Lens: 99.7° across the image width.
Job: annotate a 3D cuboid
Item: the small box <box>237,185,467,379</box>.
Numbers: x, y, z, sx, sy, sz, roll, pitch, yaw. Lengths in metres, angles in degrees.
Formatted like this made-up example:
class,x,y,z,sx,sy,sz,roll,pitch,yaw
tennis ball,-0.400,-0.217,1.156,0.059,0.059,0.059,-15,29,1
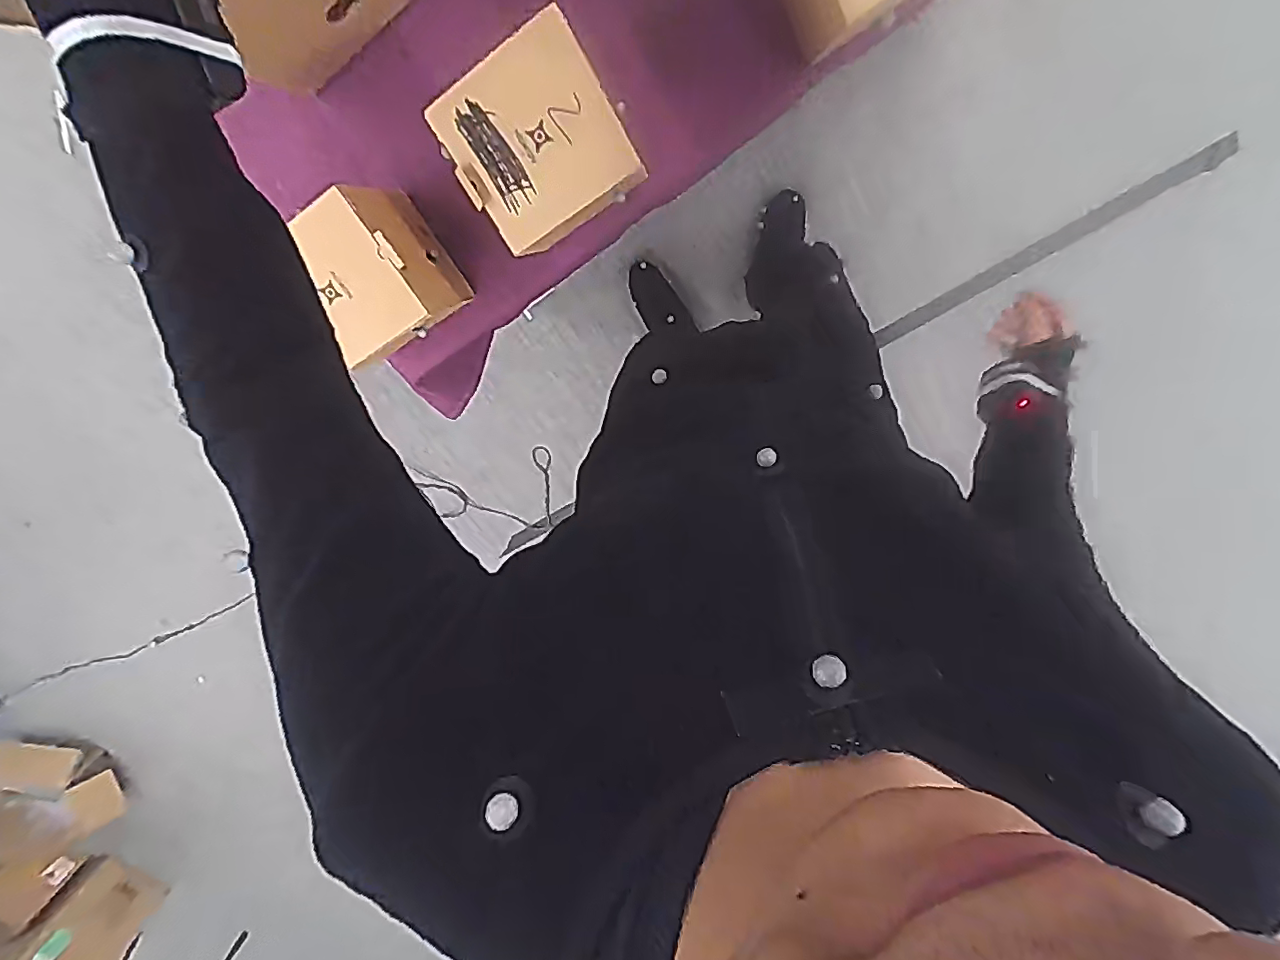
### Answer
class,x,y,z,sx,sy,sz,roll,pitch,yaw
small box,-0.368,-0.264,0.727,0.179,0.176,0.168,-28,111,15

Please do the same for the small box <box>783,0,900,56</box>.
class,x,y,z,sx,sy,sz,roll,pitch,yaw
small box,0.222,-0.574,0.533,0.168,0.176,0.179,-28,112,17
